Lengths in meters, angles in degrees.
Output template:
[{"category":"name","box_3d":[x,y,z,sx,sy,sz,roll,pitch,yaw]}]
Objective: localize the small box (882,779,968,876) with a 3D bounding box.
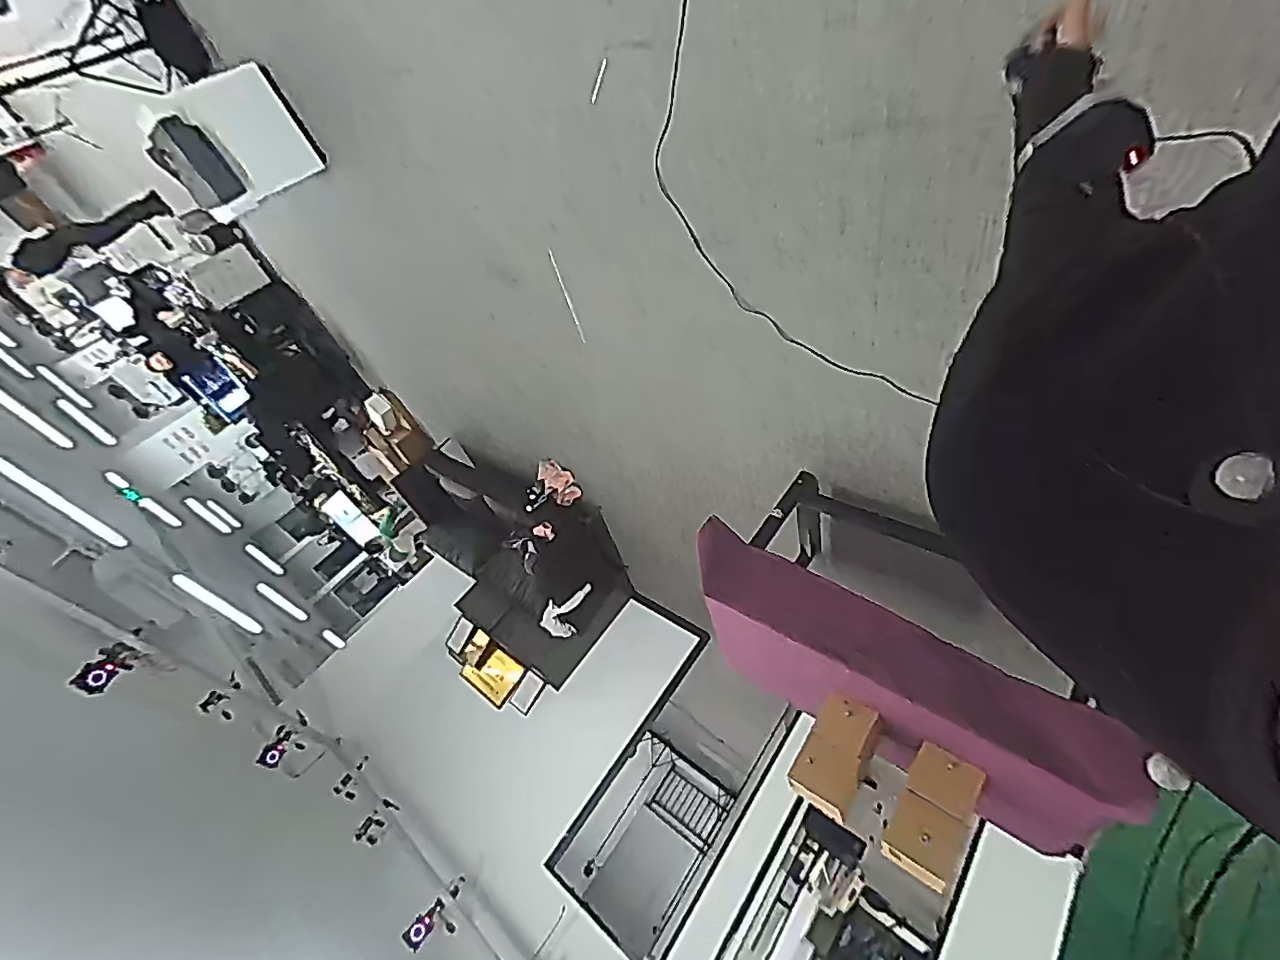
[{"category":"small box","box_3d":[0.847,1.025,1.613,0.179,0.176,0.168,20,147,37]}]

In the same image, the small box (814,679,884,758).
[{"category":"small box","box_3d":[0.725,0.827,1.862,0.168,0.176,0.179,17,145,41]}]

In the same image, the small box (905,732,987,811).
[{"category":"small box","box_3d":[0.947,0.914,1.682,0.179,0.176,0.168,21,149,37]}]

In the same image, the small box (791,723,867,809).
[{"category":"small box","box_3d":[0.627,0.937,1.790,0.179,0.176,0.168,18,147,40]}]
